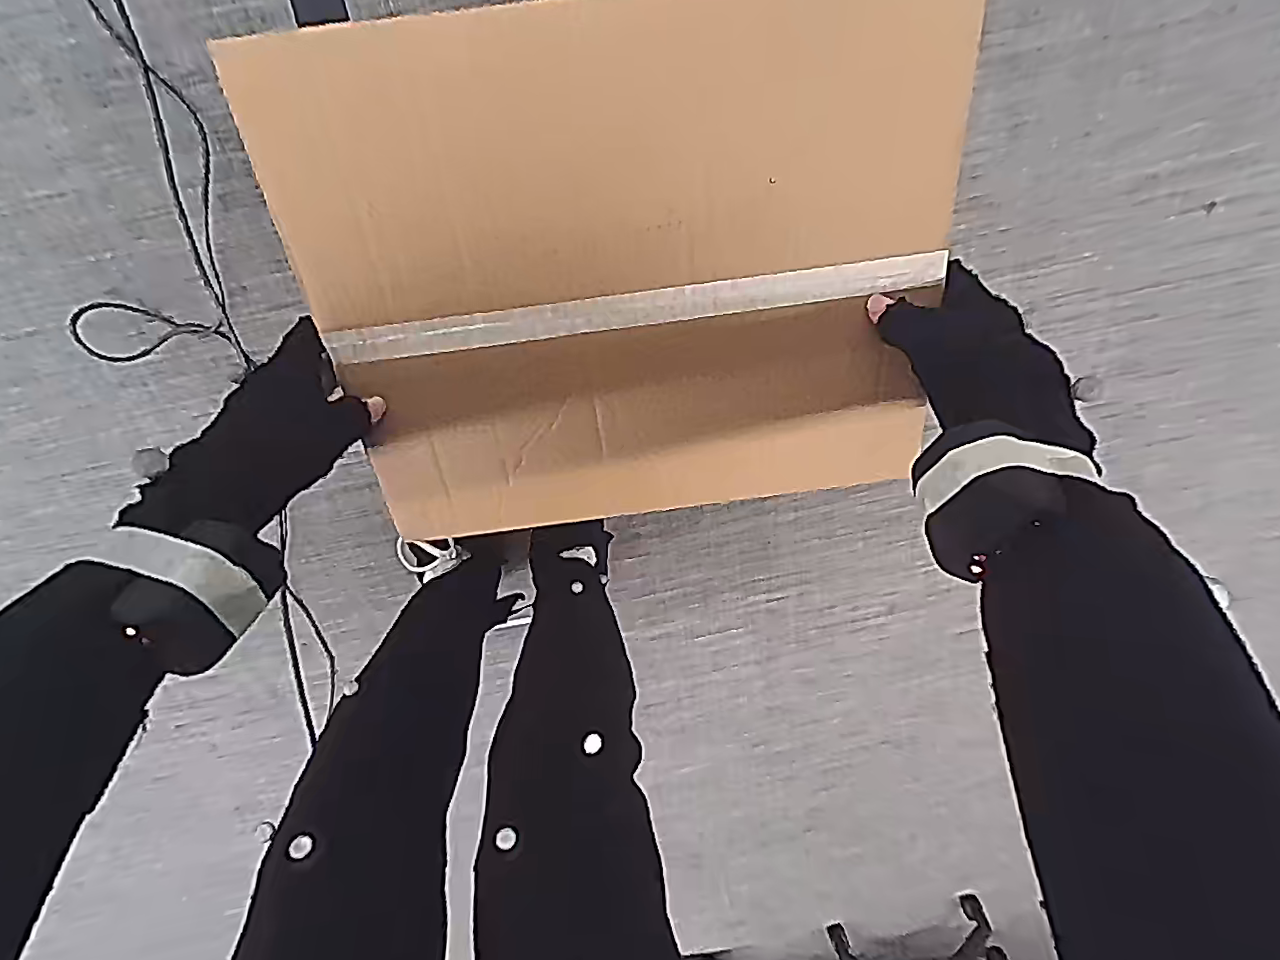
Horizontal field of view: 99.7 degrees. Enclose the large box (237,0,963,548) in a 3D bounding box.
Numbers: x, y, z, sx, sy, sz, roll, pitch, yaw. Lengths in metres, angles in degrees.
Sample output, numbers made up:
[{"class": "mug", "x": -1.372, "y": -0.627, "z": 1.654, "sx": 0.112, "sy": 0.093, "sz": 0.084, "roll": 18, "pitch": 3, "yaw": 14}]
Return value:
[{"class": "large box", "x": -0.013, "y": -0.176, "z": 0.489, "sx": 0.408, "sy": 0.320, "sz": 0.320, "roll": -7, "pitch": 118, "yaw": 0}]
